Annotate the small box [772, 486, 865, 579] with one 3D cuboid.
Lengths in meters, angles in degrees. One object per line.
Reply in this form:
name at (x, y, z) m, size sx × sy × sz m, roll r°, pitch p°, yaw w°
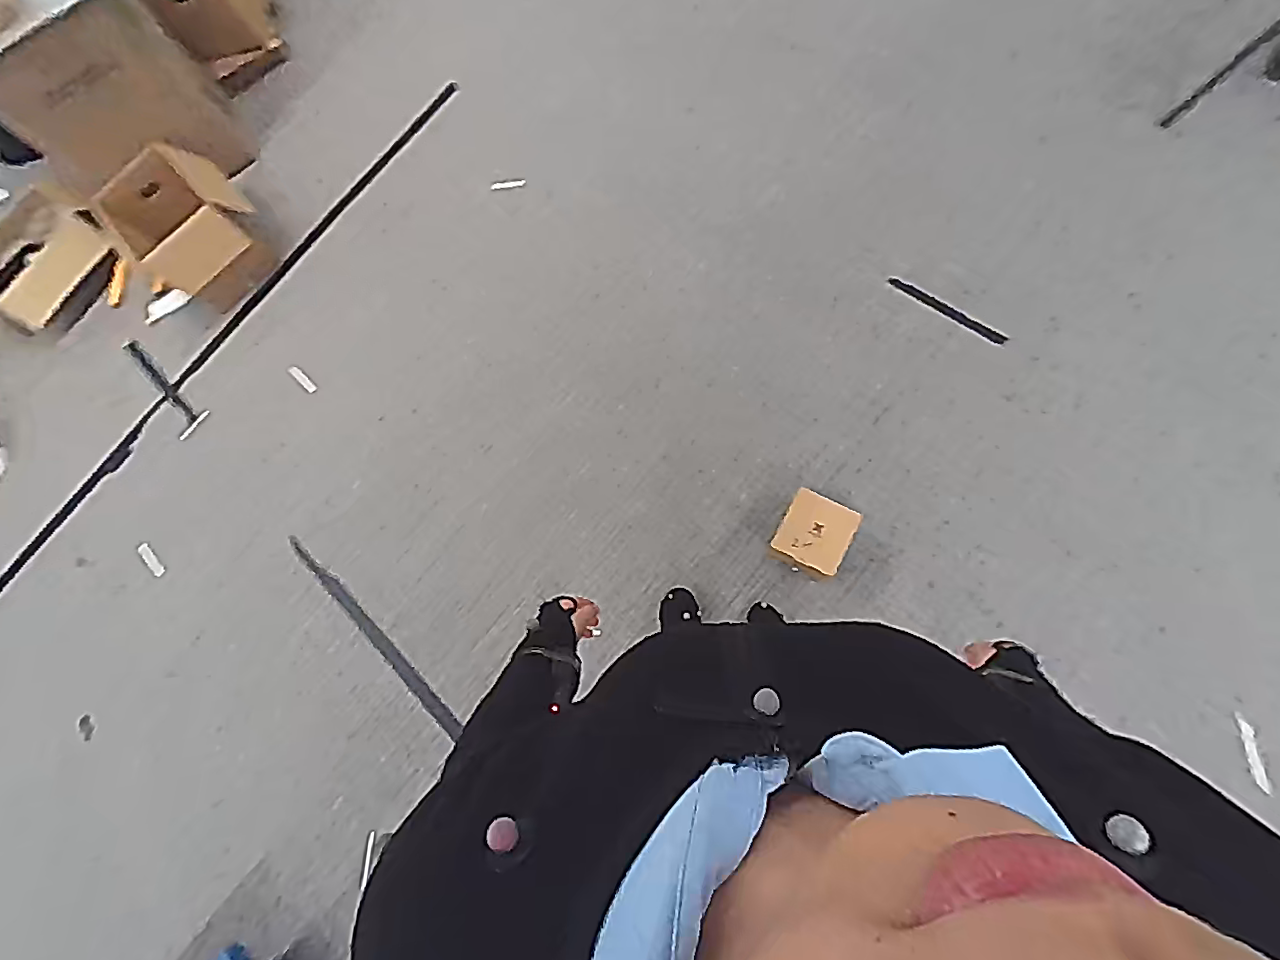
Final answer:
small box at (0.454, 0.143, 1.406) m, size 0.168 × 0.176 × 0.179 m, roll 27°, pitch 84°, yaw 16°
